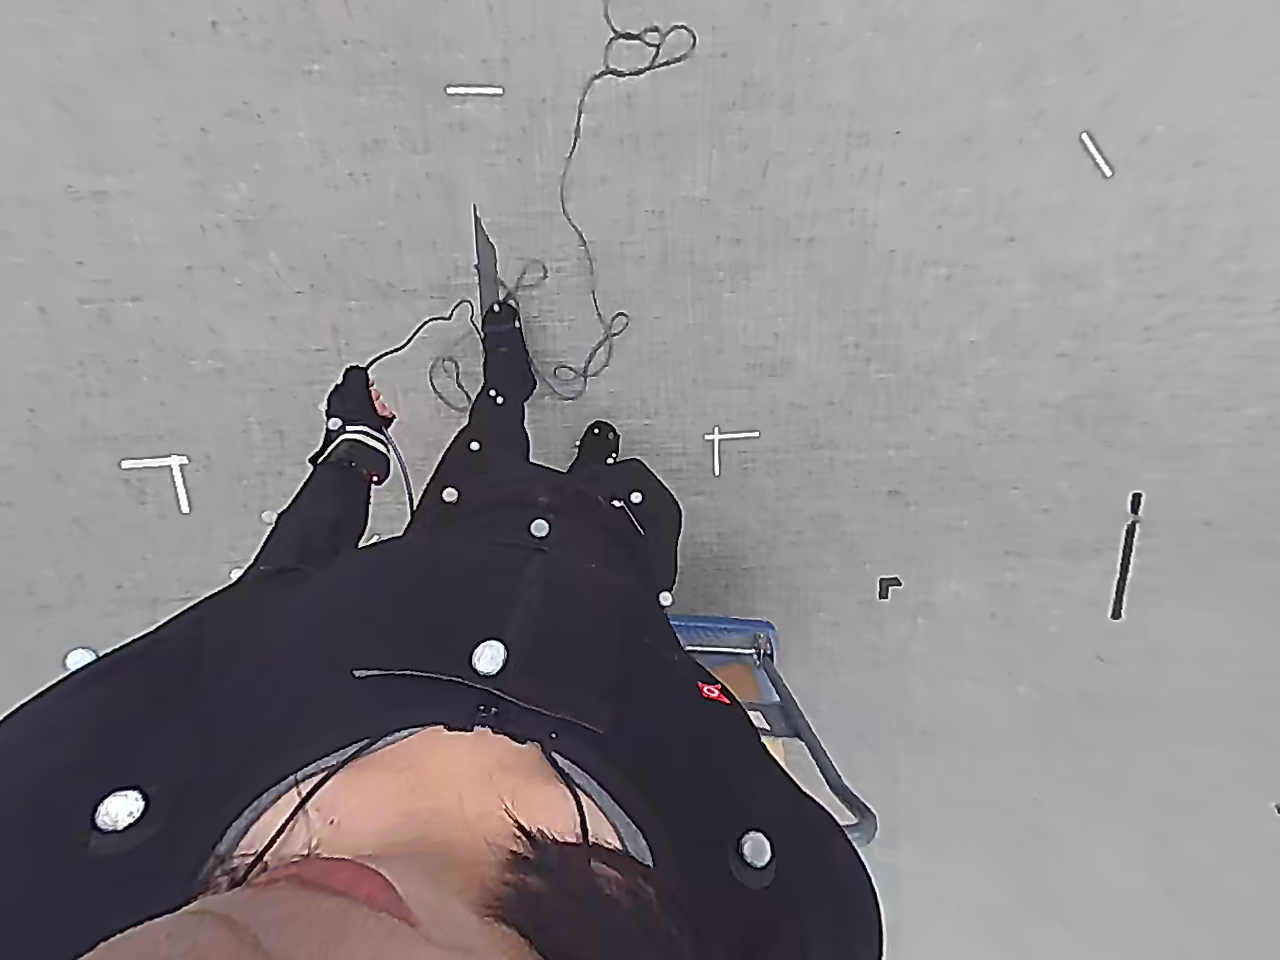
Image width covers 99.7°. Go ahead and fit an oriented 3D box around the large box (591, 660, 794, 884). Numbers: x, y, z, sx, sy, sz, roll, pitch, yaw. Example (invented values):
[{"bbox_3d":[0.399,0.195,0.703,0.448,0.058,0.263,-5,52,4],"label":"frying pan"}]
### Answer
[{"bbox_3d":[0.115,0.679,1.307,0.408,0.320,0.320,-10,99,0],"label":"large box"}]
